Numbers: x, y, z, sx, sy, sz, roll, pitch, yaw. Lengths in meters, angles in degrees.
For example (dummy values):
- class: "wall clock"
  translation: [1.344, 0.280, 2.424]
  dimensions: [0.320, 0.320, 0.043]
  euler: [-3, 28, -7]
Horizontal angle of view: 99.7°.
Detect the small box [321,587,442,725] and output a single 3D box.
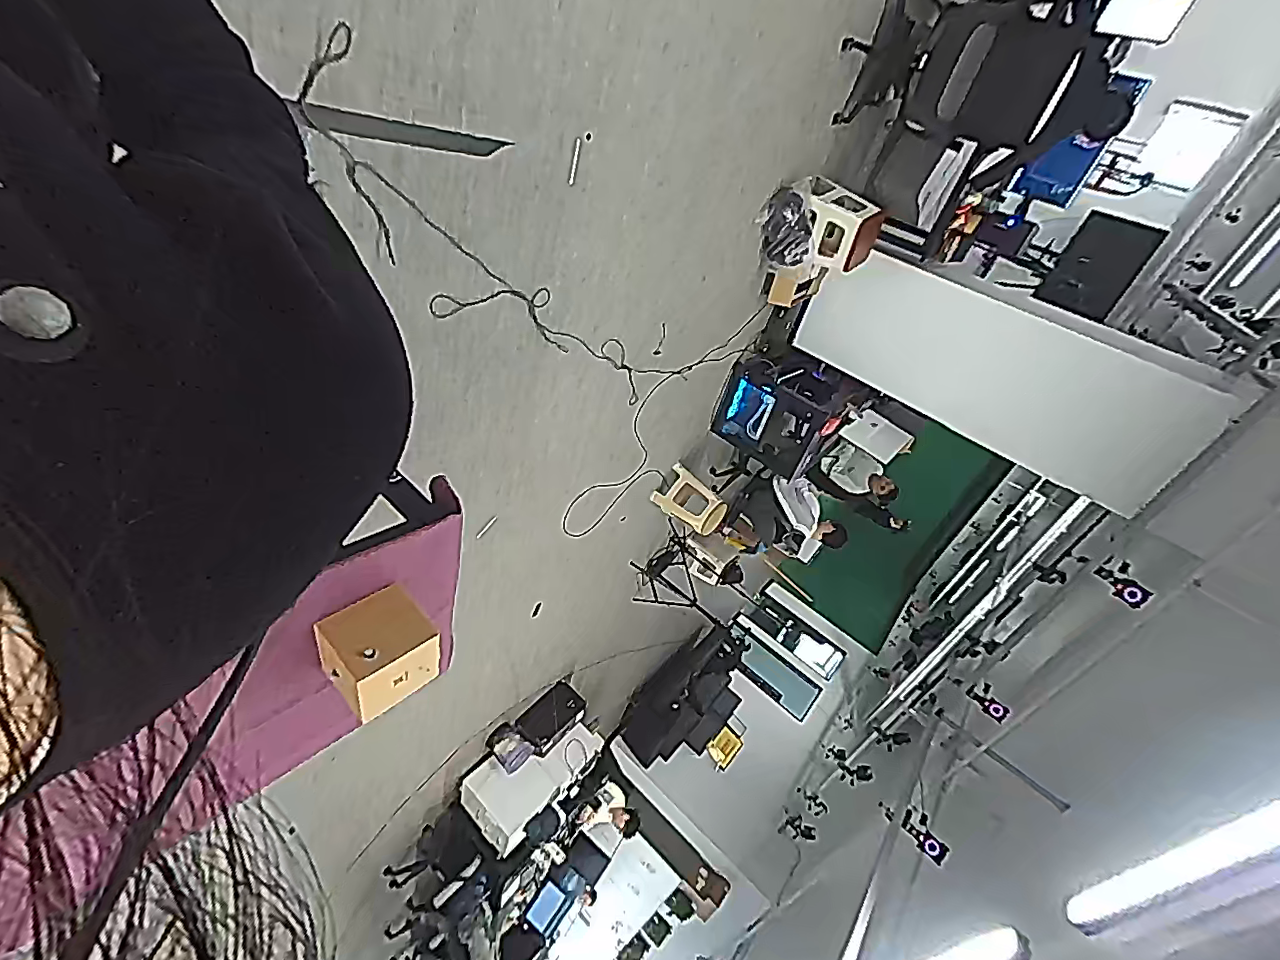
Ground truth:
- class: "small box"
  translation: [-0.541, 0.361, 1.131]
  dimensions: [0.179, 0.176, 0.168]
  euler: [-29, 148, -44]
